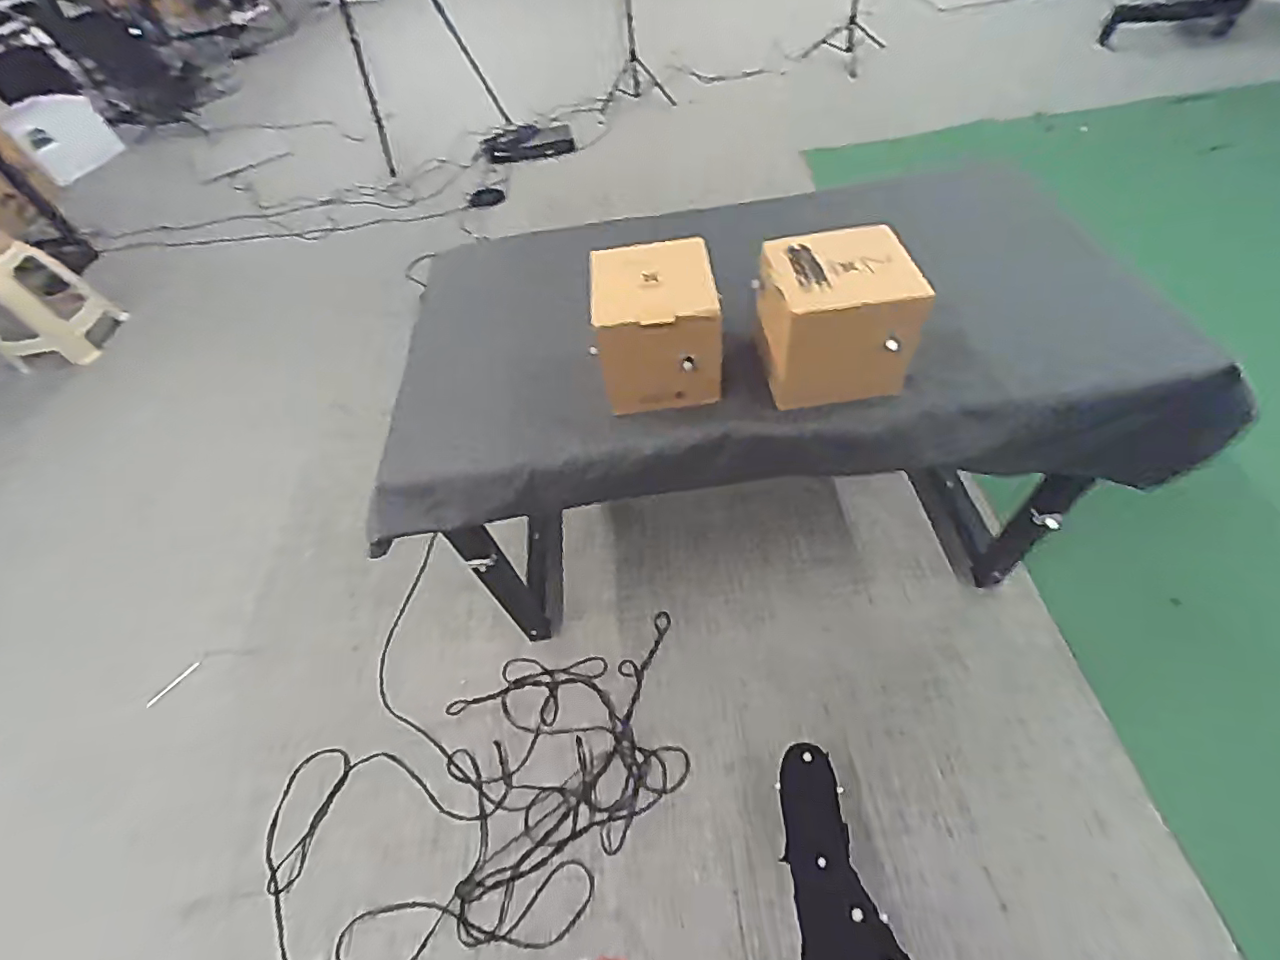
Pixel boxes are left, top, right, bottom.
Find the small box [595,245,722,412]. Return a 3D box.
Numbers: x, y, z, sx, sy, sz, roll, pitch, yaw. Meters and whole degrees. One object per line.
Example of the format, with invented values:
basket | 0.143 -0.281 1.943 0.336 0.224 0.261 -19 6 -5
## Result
small box | 0.028 -0.214 0.797 0.168 0.176 0.179 -6 52 2
